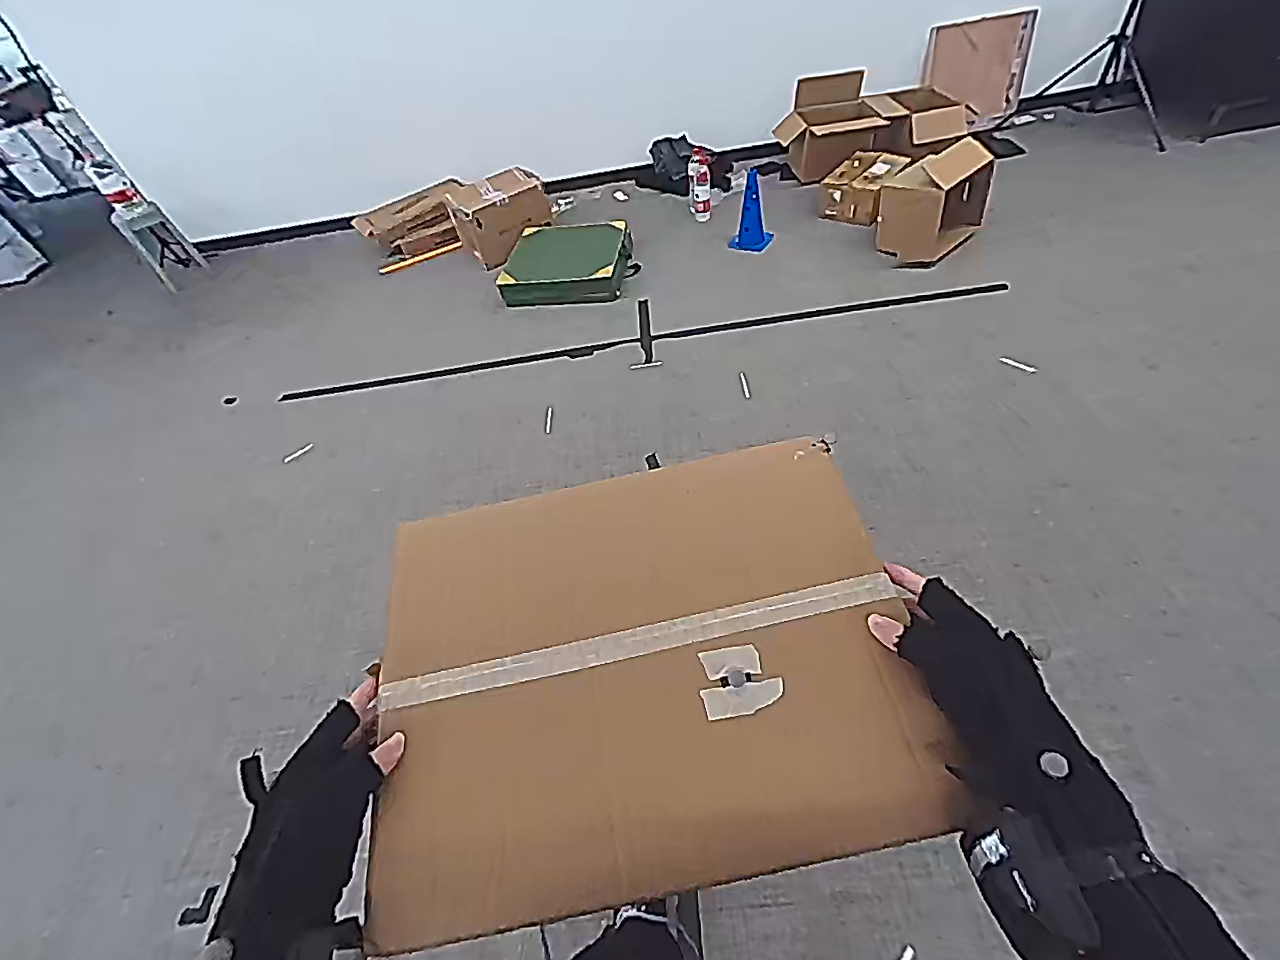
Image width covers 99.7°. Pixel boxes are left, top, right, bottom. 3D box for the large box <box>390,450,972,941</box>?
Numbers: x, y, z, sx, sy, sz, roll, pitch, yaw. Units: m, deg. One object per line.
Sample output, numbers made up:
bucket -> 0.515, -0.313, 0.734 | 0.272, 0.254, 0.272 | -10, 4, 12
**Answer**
large box -> 0.018, 0.218, 0.559 | 0.408, 0.320, 0.320 | -12, 56, 0
